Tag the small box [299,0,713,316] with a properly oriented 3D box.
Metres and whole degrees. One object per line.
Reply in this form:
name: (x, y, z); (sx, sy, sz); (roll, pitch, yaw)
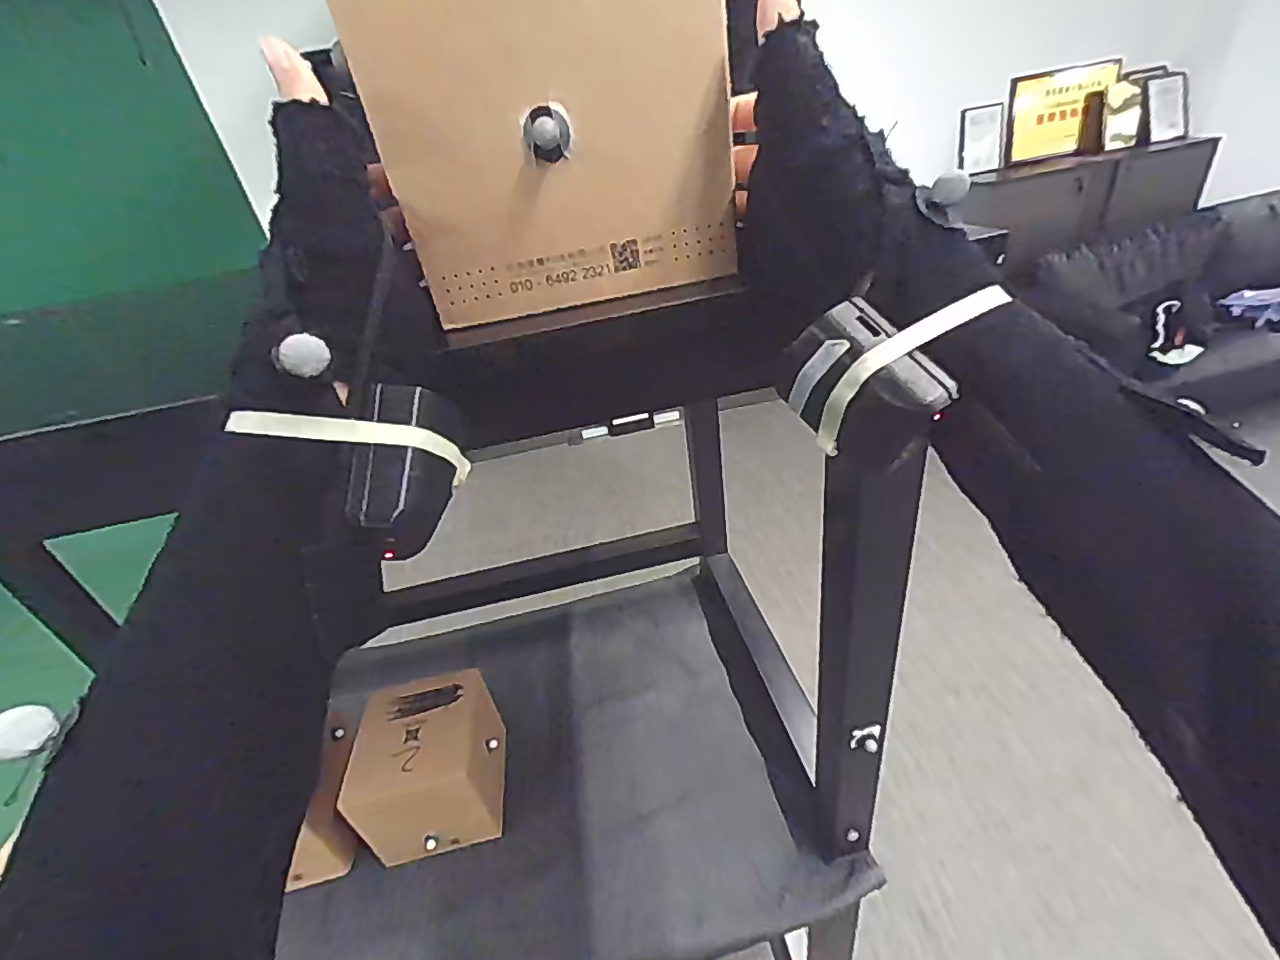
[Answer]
small box: (-0.058, -0.206, 0.322); (0.168, 0.176, 0.179); (-11, 31, -1)
